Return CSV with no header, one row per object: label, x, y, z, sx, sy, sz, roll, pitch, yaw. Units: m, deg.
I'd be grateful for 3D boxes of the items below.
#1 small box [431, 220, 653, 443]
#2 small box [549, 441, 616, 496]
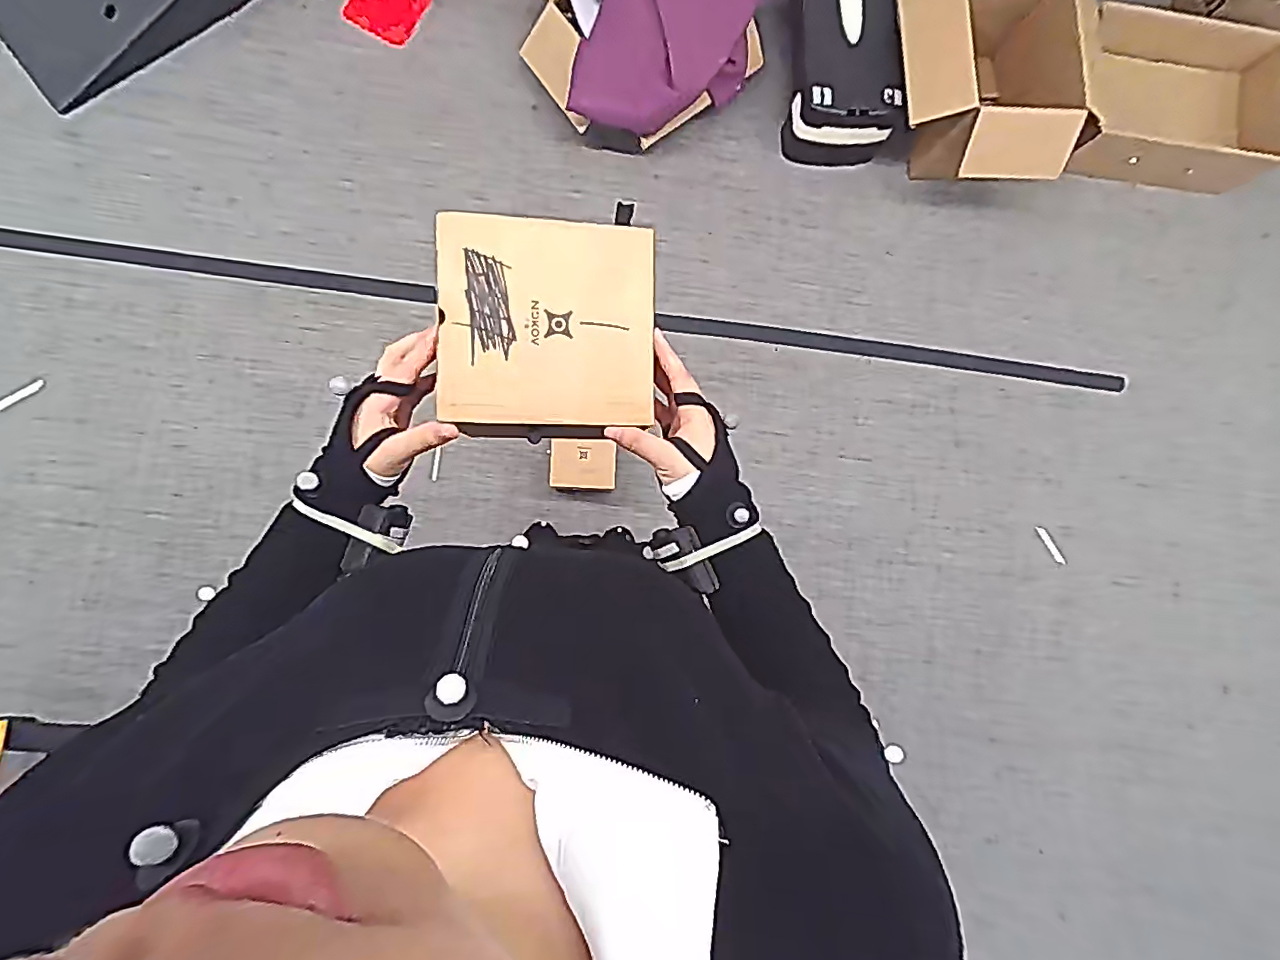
small box,-0.087,-0.122,0.513,0.179,0.176,0.168,0,91,-9
small box,-0.150,-0.051,1.440,0.168,0.176,0.179,2,87,-4
